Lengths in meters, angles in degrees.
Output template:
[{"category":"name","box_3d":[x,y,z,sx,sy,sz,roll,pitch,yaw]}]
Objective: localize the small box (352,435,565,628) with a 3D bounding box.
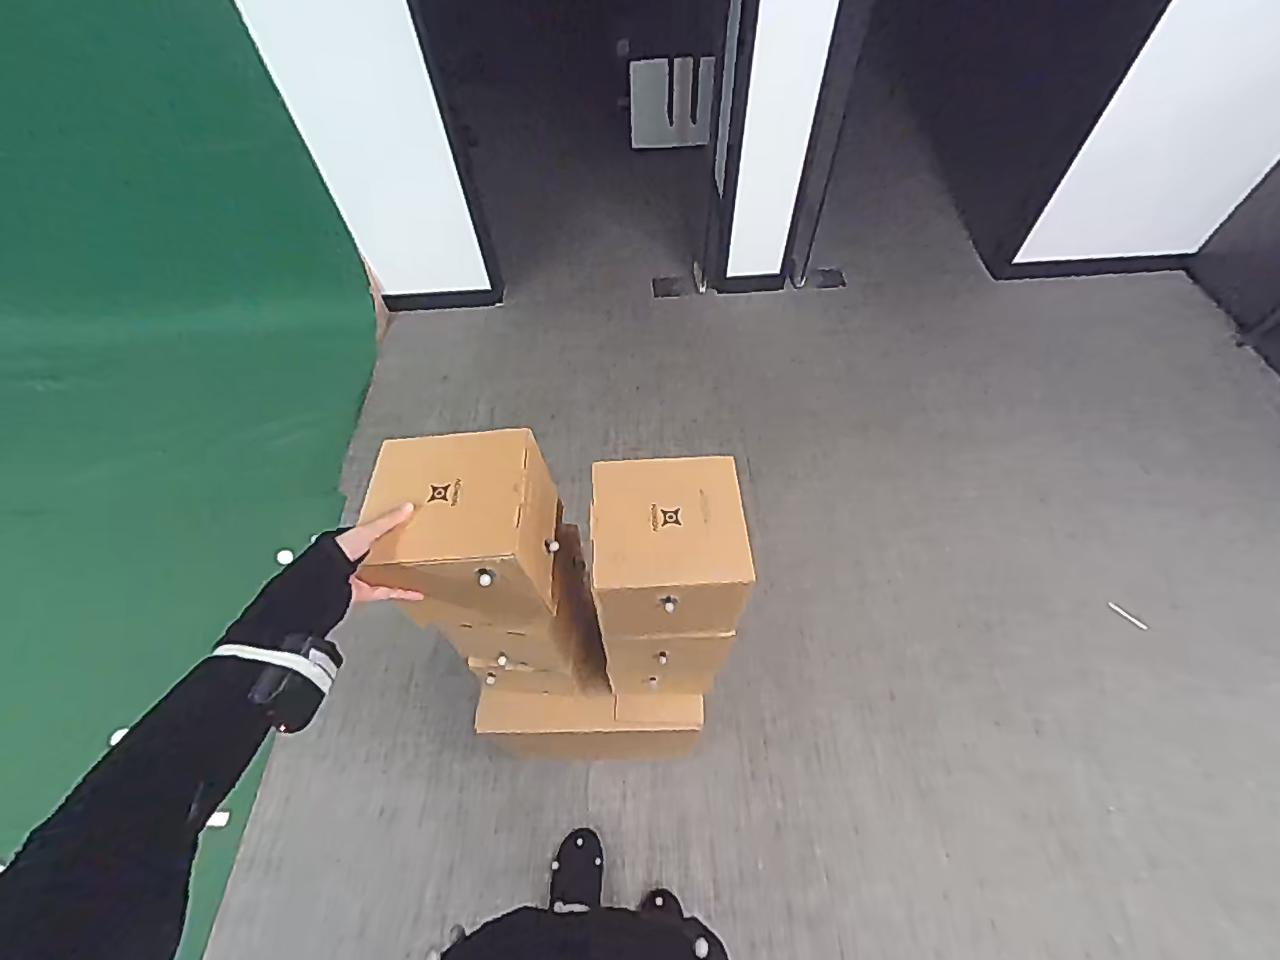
[{"category":"small box","box_3d":[-0.197,0.068,0.646,0.179,0.176,0.168,-5,54,3]}]

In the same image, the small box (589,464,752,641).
[{"category":"small box","box_3d":[0.033,0.096,0.679,0.179,0.176,0.168,-2,56,0]}]
